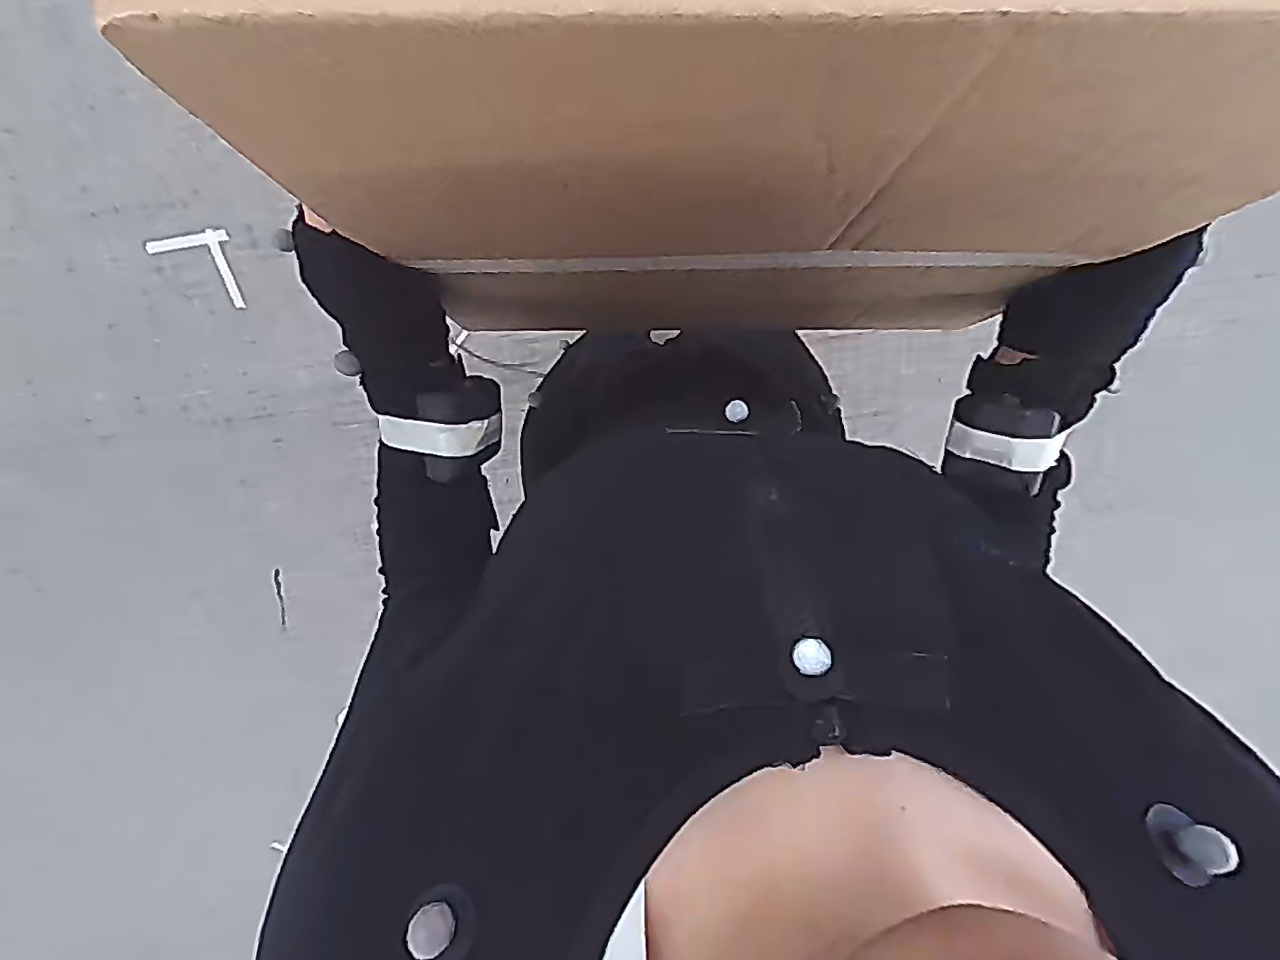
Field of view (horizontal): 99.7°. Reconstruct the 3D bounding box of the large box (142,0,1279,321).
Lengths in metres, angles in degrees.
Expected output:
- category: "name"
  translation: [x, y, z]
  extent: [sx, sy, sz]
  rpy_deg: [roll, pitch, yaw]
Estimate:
- category: "large box"
  translation: [0.057, -0.281, 0.291]
  extent: [0.408, 0.320, 0.320]
  rpy_deg: [-1, 92, -1]
